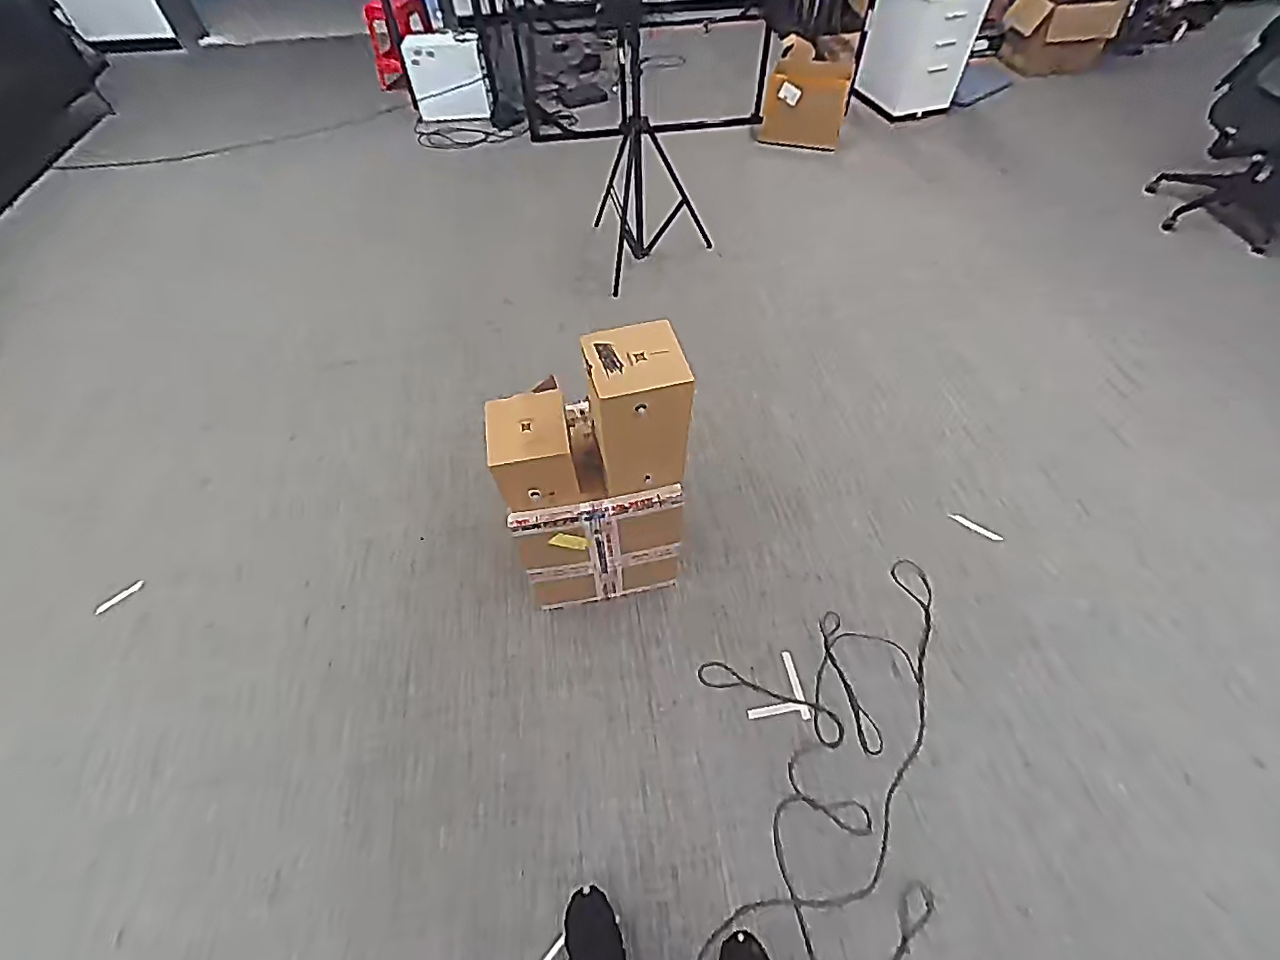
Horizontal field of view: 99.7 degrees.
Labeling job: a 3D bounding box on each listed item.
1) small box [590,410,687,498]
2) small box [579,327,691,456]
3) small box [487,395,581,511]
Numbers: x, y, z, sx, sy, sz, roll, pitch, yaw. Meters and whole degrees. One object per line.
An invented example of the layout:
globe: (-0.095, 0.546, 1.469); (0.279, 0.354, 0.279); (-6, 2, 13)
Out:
small box: (-0.009, -0.081, 1.196); (0.179, 0.176, 0.168); (-13, 58, -9)
small box: (-0.010, -0.166, 1.054); (0.179, 0.176, 0.168); (-13, 58, -8)
small box: (-0.230, -0.057, 1.184); (0.168, 0.176, 0.179); (-11, 59, -4)
